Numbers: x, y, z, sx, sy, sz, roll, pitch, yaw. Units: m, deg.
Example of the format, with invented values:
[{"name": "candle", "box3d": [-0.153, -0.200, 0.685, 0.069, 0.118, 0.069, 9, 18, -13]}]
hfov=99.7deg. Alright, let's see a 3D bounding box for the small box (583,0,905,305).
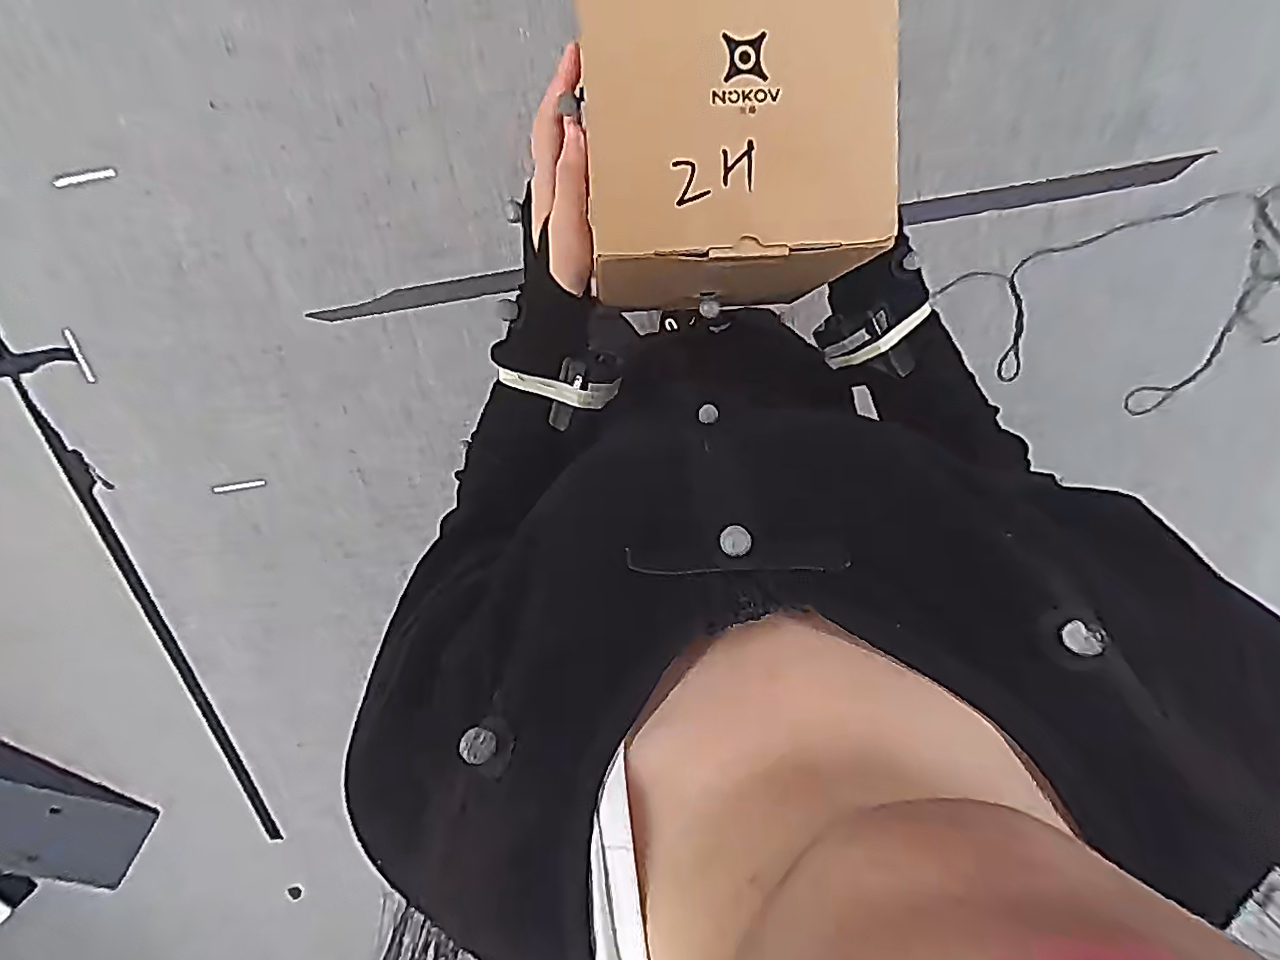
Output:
[{"name": "small box", "box3d": [0.049, -0.223, 0.354, 0.168, 0.176, 0.179, -4, 98, -3]}]
